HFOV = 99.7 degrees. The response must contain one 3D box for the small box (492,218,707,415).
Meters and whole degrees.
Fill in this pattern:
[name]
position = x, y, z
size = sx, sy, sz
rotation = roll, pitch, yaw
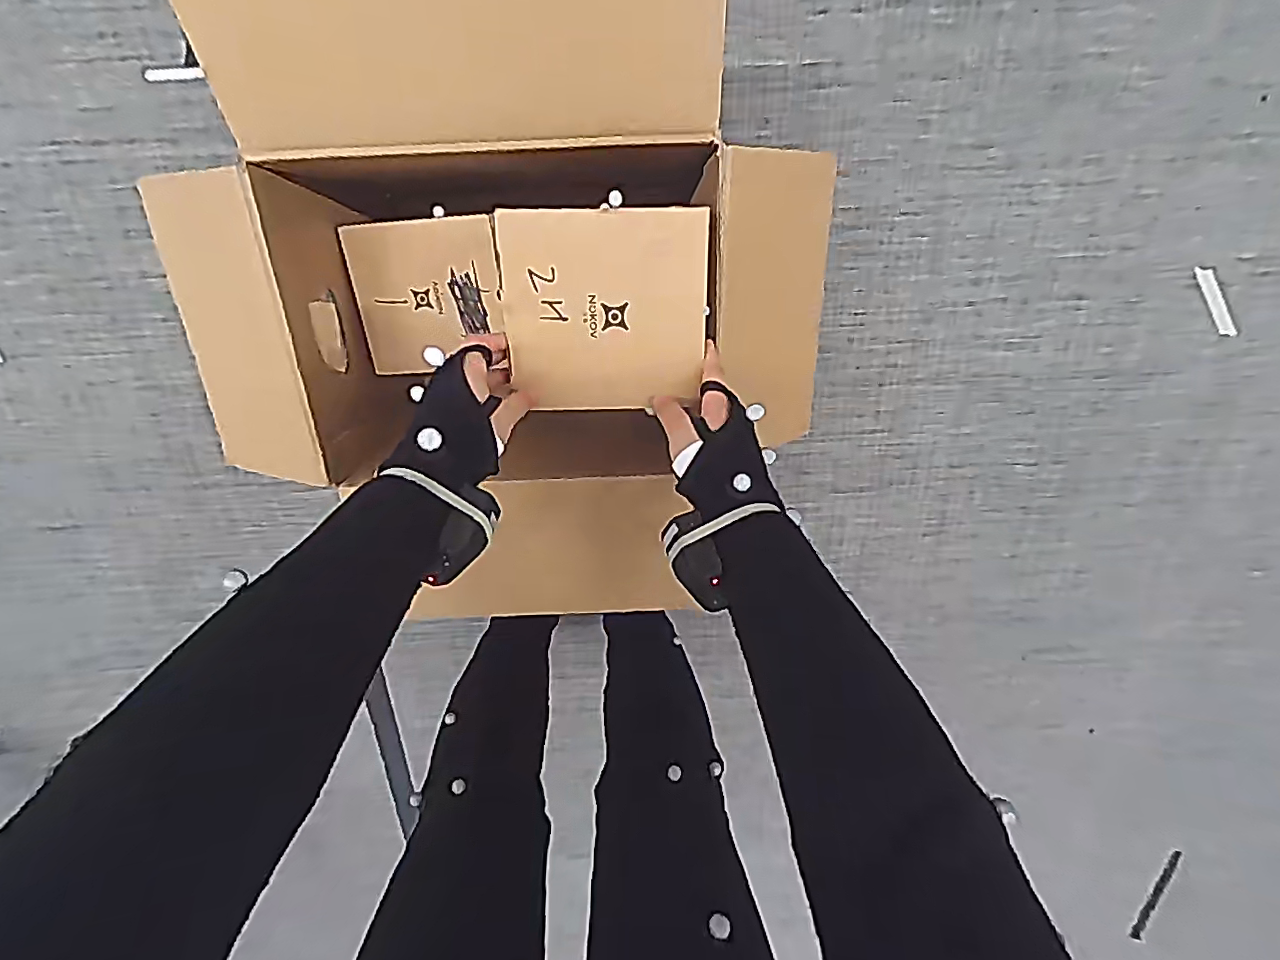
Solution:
[small box]
position = -0.035, -0.167, 0.538
size = 0.179, 0.176, 0.168
rotation = -1, 113, -1
